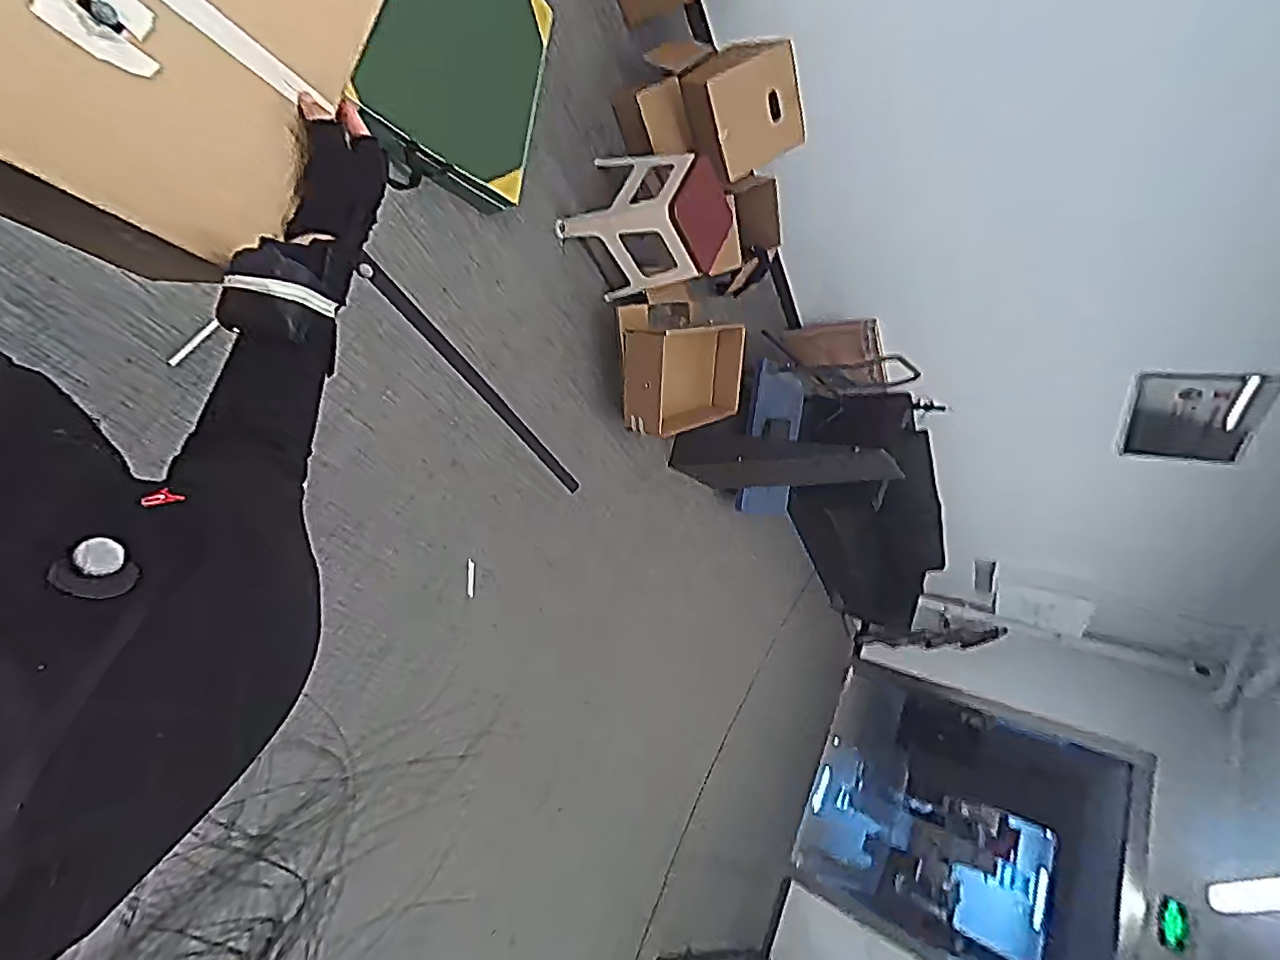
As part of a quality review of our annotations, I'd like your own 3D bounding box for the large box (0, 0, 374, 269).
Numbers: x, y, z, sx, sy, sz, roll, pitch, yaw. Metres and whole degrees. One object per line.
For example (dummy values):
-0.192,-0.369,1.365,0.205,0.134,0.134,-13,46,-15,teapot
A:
-0.494,-0.399,0.390,0.408,0.320,0.320,25,83,-57,large box
